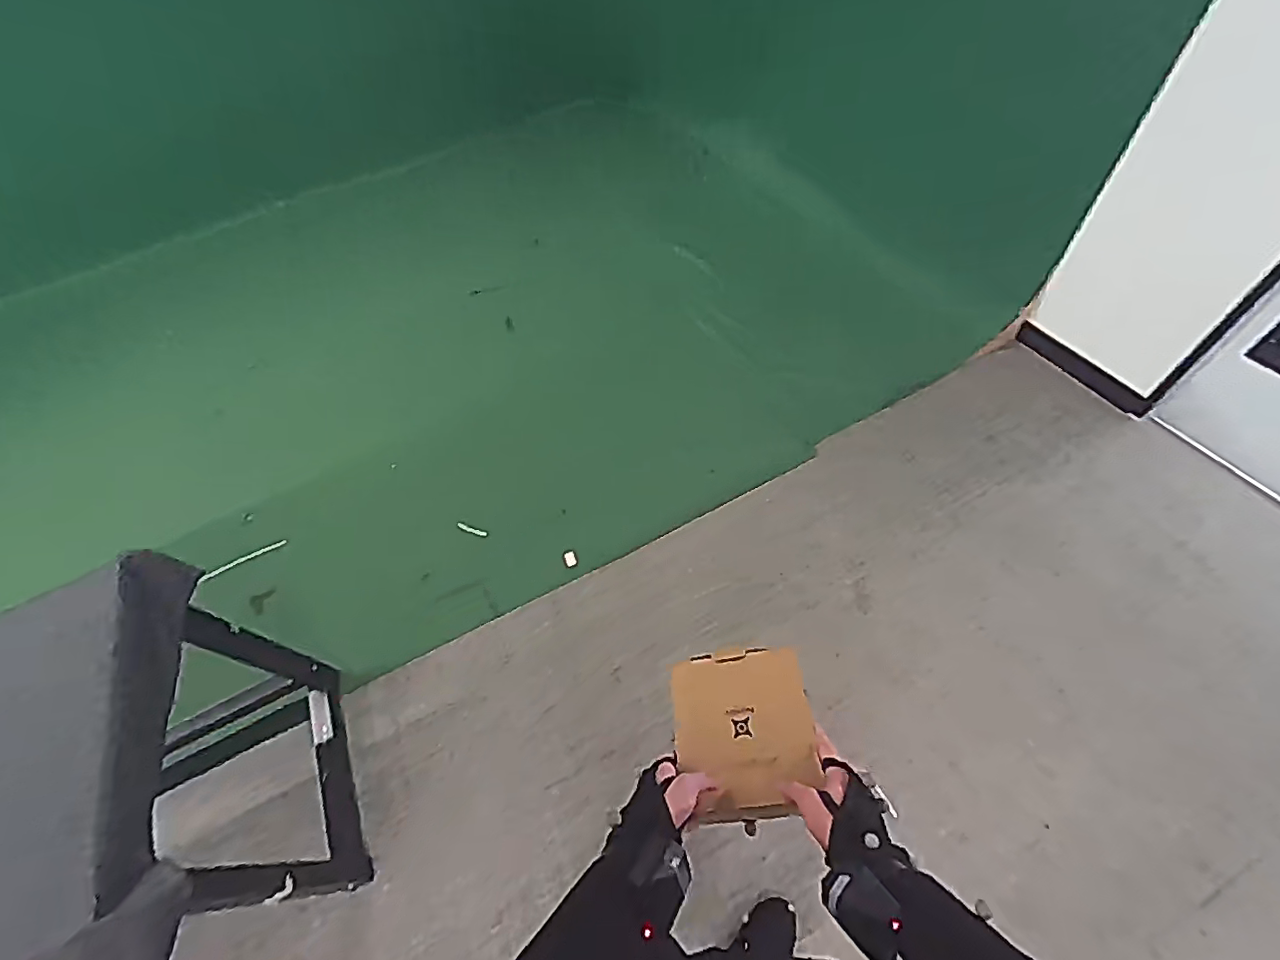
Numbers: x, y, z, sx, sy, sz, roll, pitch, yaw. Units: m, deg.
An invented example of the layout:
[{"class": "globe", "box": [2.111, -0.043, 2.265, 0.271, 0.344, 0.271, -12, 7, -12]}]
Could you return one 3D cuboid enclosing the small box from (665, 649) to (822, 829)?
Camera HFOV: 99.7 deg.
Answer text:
[{"class": "small box", "box": [0.129, 0.339, 0.699, 0.168, 0.176, 0.179, -9, 53, 9]}]
